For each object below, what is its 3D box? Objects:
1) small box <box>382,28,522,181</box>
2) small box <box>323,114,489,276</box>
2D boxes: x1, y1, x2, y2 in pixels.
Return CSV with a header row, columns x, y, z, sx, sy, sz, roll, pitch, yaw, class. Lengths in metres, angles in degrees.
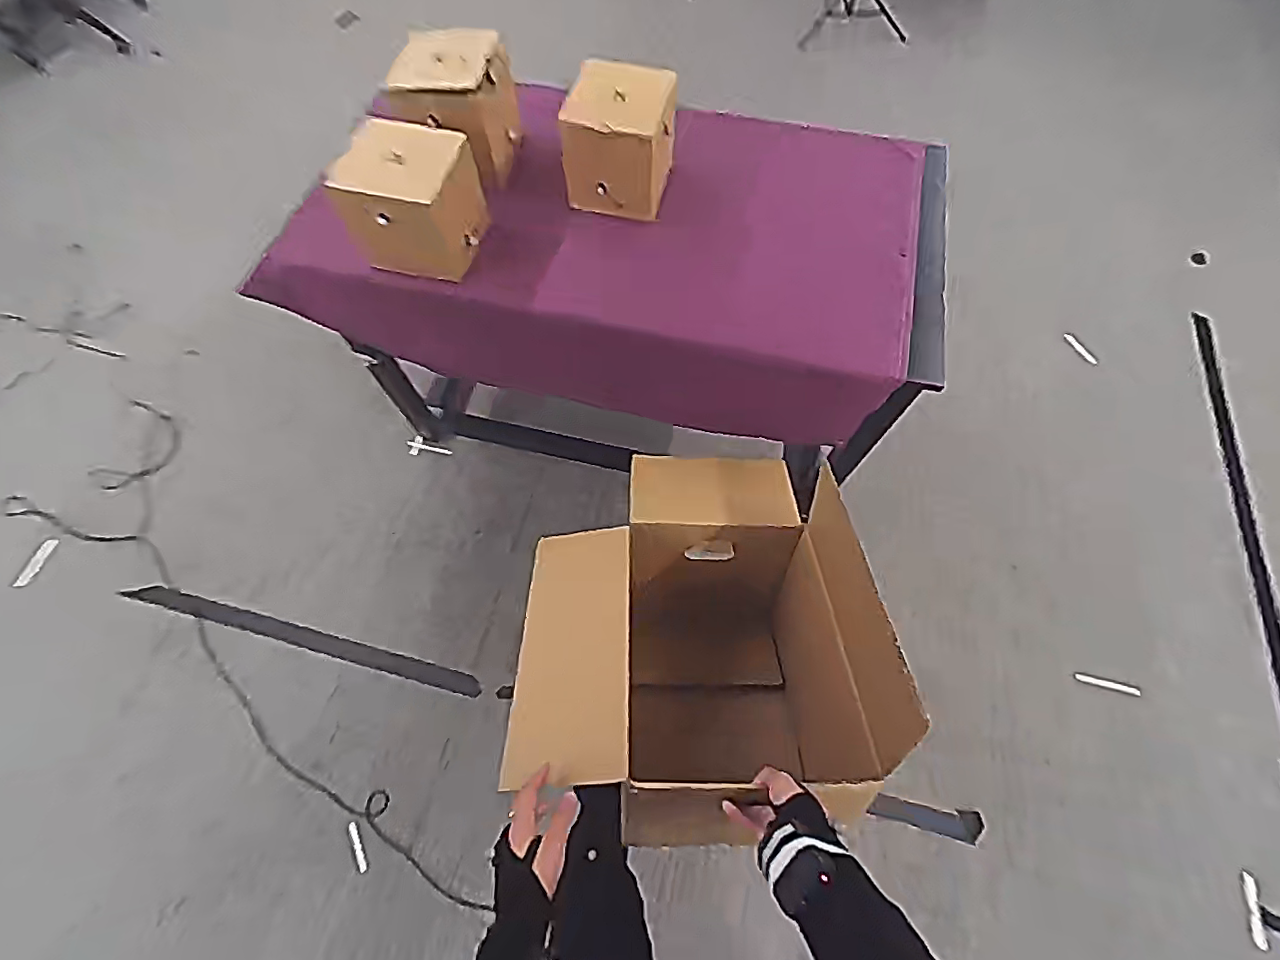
x,y,z,sx,sy,sz,roll,pitch,yaw,class
-0.336,-0.690,1.005,0.179,0.176,0.168,11,68,3,small box
-0.378,-0.472,0.911,0.179,0.176,0.168,13,67,4,small box
